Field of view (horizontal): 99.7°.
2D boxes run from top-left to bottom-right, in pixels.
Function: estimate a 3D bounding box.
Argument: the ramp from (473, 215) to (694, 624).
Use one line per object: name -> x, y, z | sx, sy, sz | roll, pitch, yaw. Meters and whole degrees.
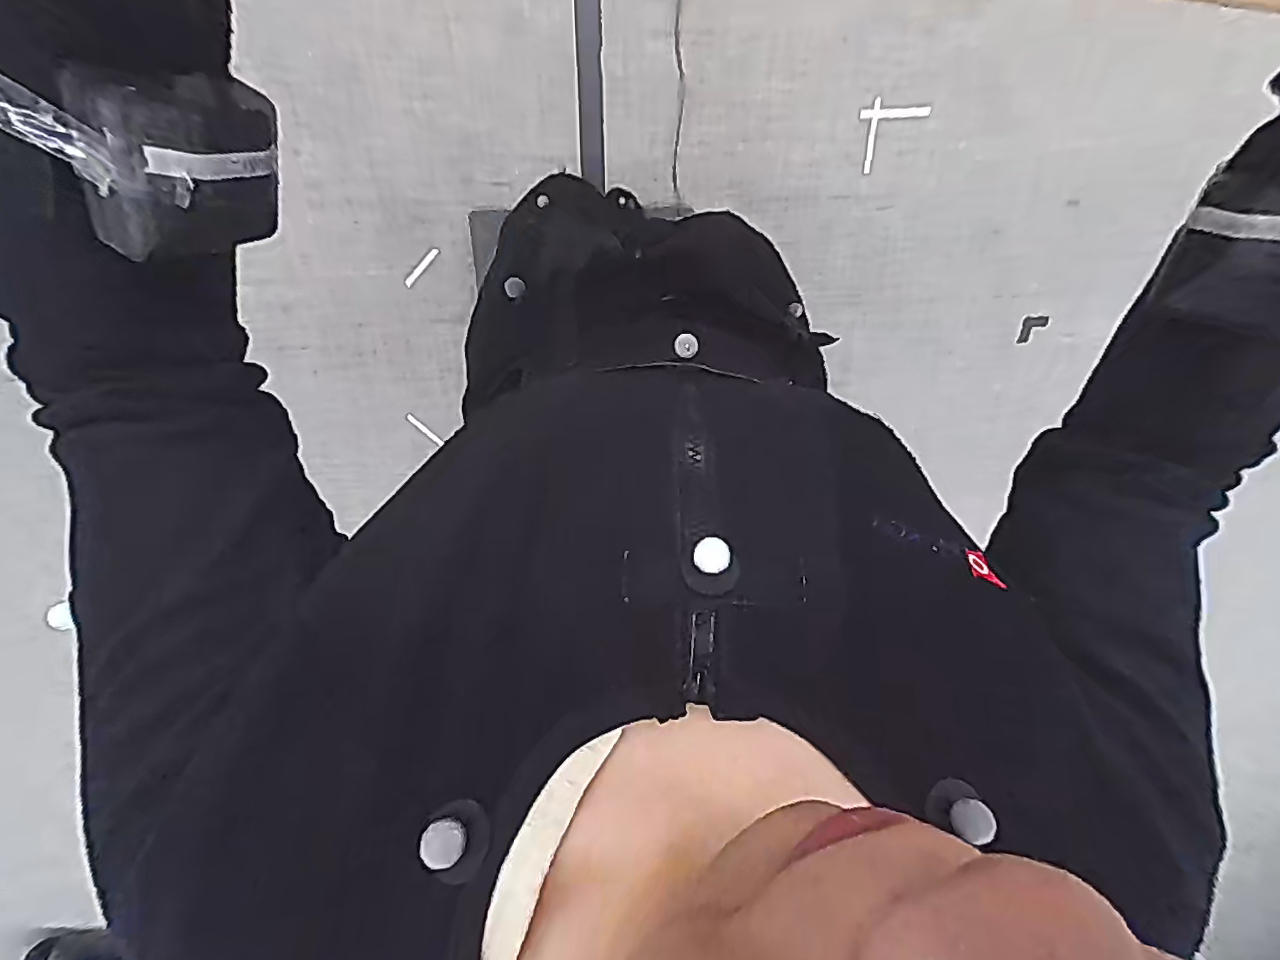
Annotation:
ramp -> -0.111, -0.101, 1.333 | 0.509, 0.206, 0.991 | -4, 117, -3
